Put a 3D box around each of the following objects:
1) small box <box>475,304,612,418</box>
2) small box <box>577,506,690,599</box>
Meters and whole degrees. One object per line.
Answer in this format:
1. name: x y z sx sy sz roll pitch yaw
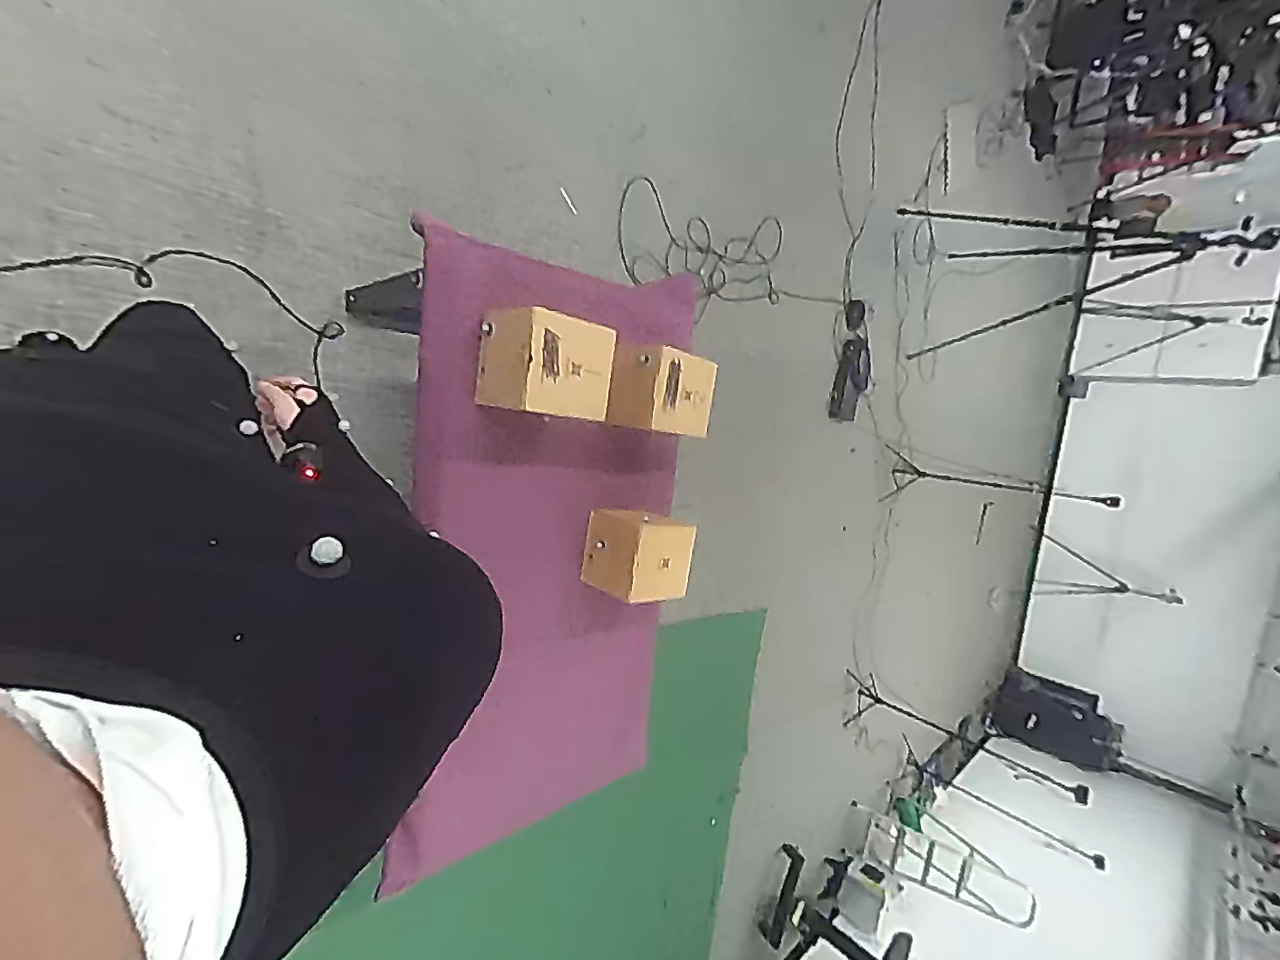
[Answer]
1. small box: -0.177 -0.209 0.973 0.179 0.176 0.168 2 99 -46
2. small box: -0.016 0.157 1.225 0.179 0.176 0.168 5 97 -44
